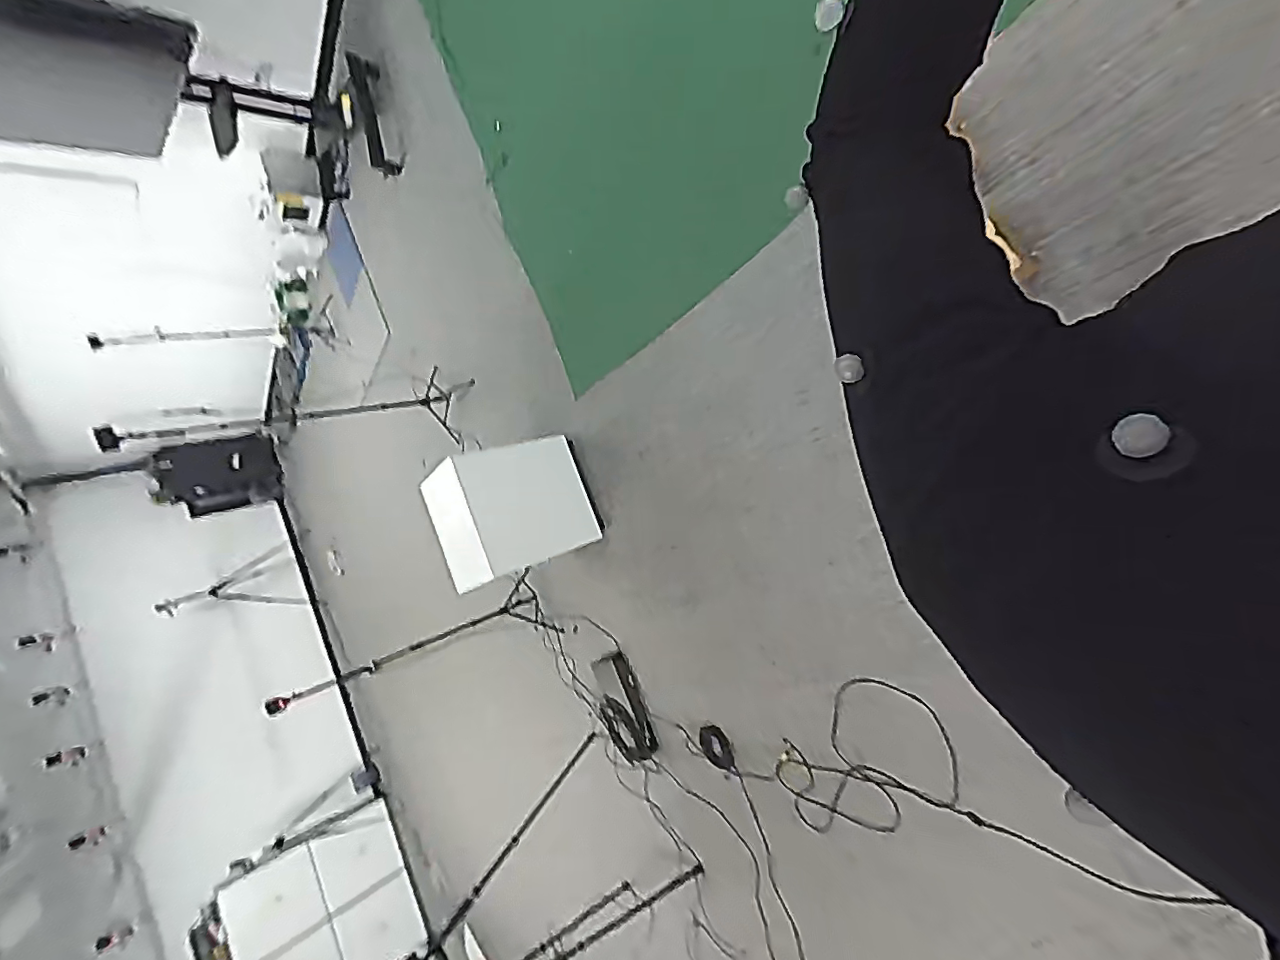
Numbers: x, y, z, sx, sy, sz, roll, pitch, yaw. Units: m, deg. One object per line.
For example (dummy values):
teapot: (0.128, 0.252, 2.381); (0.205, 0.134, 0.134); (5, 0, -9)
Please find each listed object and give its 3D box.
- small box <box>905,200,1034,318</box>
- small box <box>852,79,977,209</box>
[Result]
small box: (0.734, -0.480, 1.196); (0.179, 0.176, 0.168); (-37, 73, 46)
small box: (0.627, -0.750, 1.233); (0.179, 0.176, 0.168); (-32, 79, 46)
